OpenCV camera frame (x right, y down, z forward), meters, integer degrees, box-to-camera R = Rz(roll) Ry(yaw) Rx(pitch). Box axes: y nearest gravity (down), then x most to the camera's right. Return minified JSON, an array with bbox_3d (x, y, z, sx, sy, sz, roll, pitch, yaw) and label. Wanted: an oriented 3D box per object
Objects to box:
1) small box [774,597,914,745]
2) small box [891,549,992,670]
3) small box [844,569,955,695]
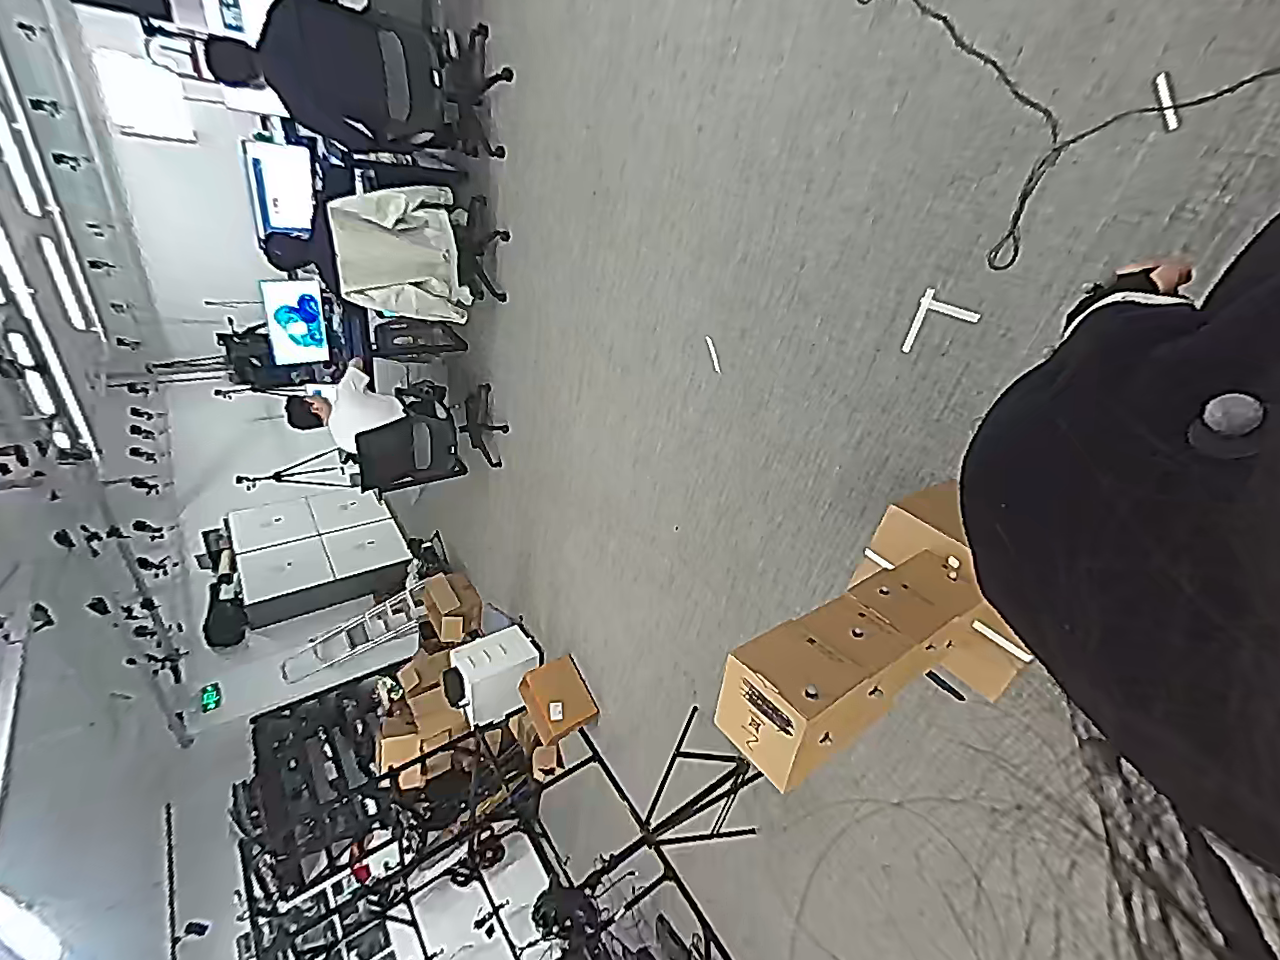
[{"bbox_3d":[0.389,0.352,1.031,0.168,0.176,0.179,36,129,44],"label":"small box"},{"bbox_3d":[0.649,0.285,1.217,0.168,0.176,0.179,40,131,40],"label":"small box"},{"bbox_3d":[0.519,0.312,1.125,0.168,0.176,0.179,40,133,41],"label":"small box"}]
